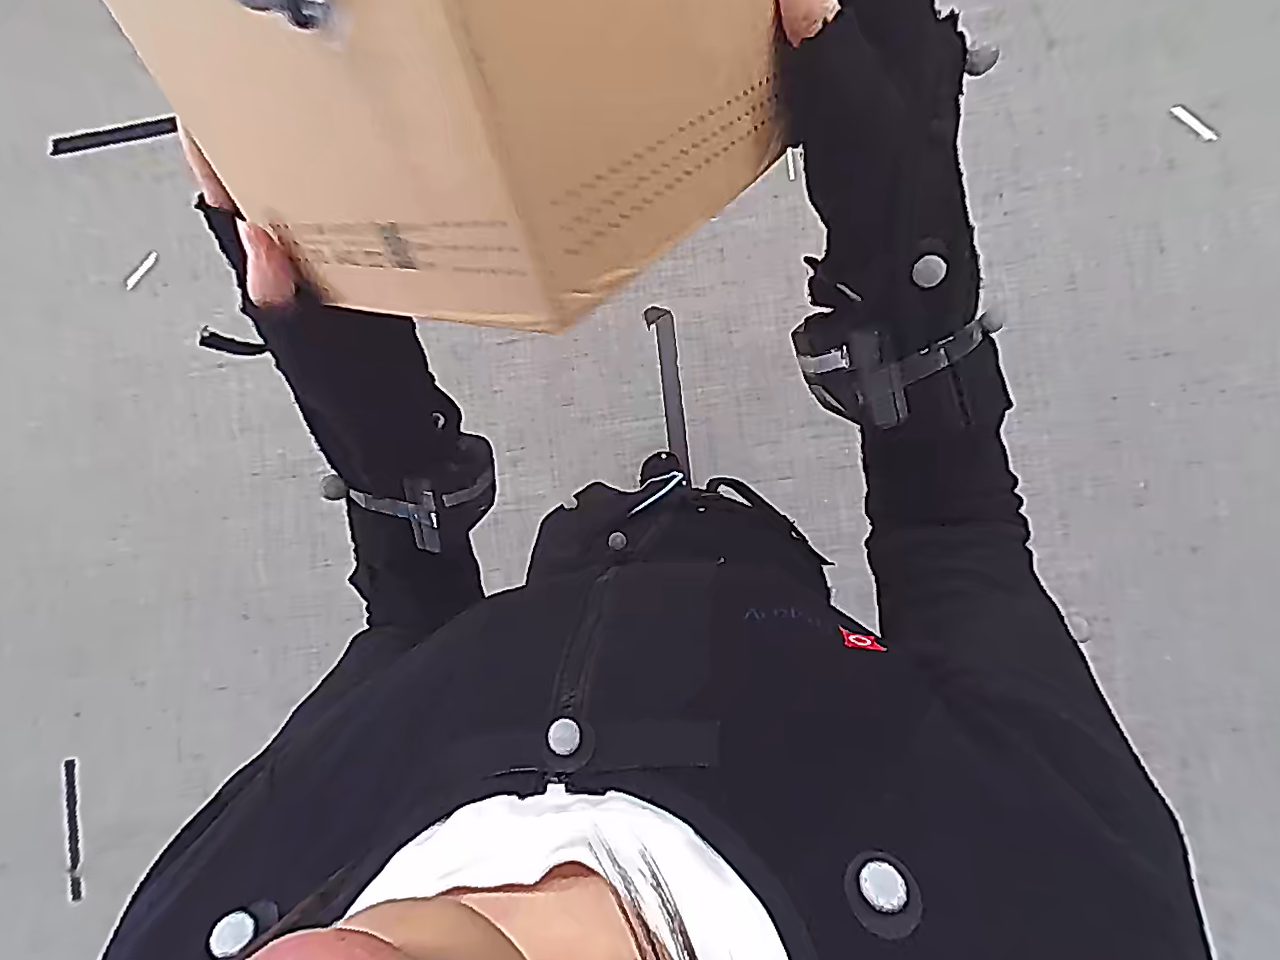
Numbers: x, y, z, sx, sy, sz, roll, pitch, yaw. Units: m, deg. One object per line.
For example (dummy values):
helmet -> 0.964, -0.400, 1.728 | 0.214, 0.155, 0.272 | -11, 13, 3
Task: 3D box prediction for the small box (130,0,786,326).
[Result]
small box -> -0.053, -0.174, 0.196 | 0.168, 0.176, 0.179 | 17, 51, 31
